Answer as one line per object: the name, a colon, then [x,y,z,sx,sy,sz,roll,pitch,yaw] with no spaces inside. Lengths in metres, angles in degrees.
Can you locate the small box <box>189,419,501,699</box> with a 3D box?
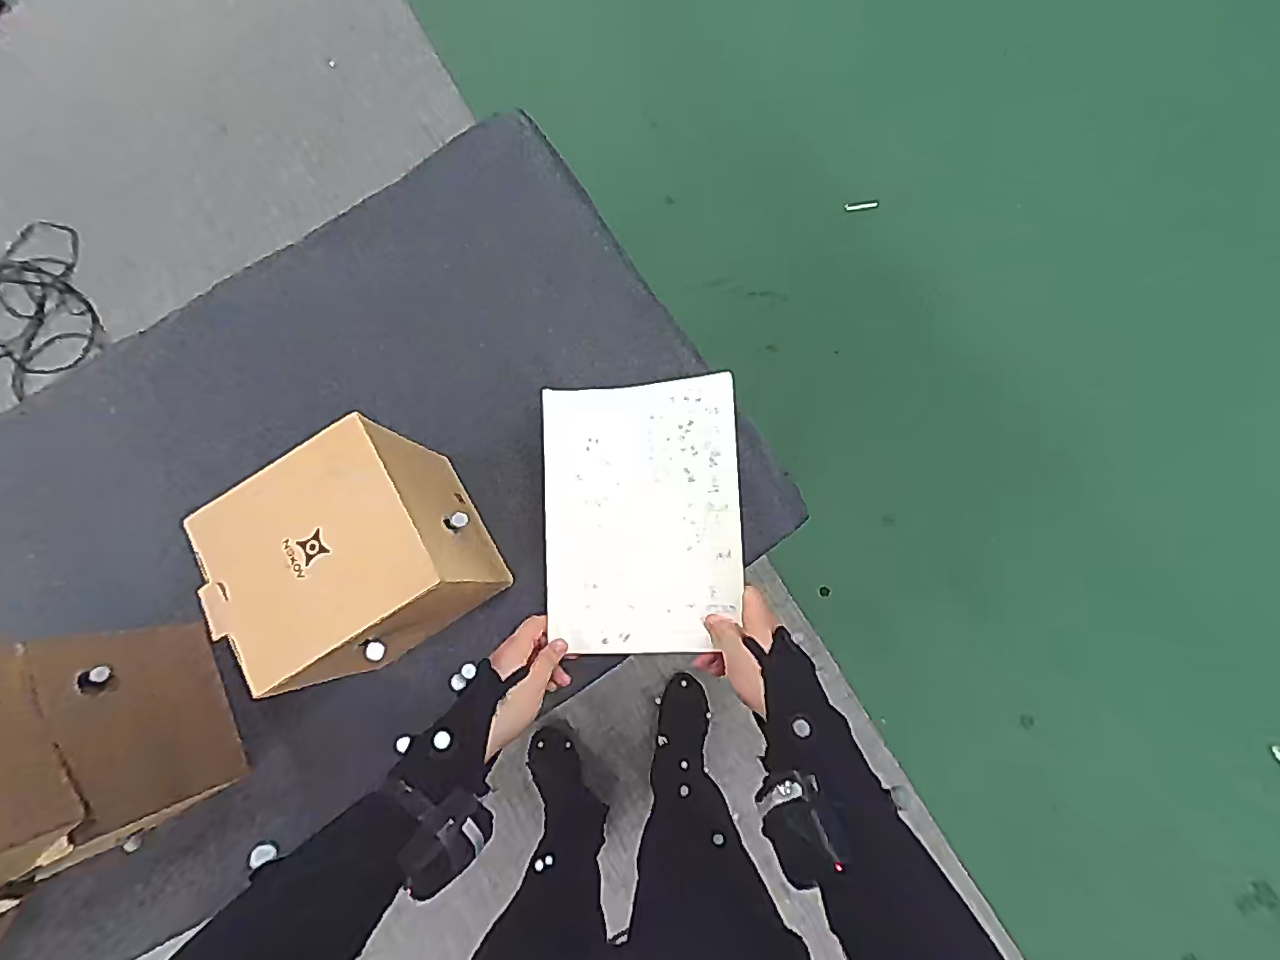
small box: [-0.254,0.072,0.513,0.179,0.176,0.168,-33,78,1]

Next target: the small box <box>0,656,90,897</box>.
small box: [-0.541,0.231,0.354,0.168,0.176,0.179,-40,79,0]

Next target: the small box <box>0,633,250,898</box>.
small box: [-0.527,0.259,0.513,0.168,0.176,0.179,-29,78,2]
